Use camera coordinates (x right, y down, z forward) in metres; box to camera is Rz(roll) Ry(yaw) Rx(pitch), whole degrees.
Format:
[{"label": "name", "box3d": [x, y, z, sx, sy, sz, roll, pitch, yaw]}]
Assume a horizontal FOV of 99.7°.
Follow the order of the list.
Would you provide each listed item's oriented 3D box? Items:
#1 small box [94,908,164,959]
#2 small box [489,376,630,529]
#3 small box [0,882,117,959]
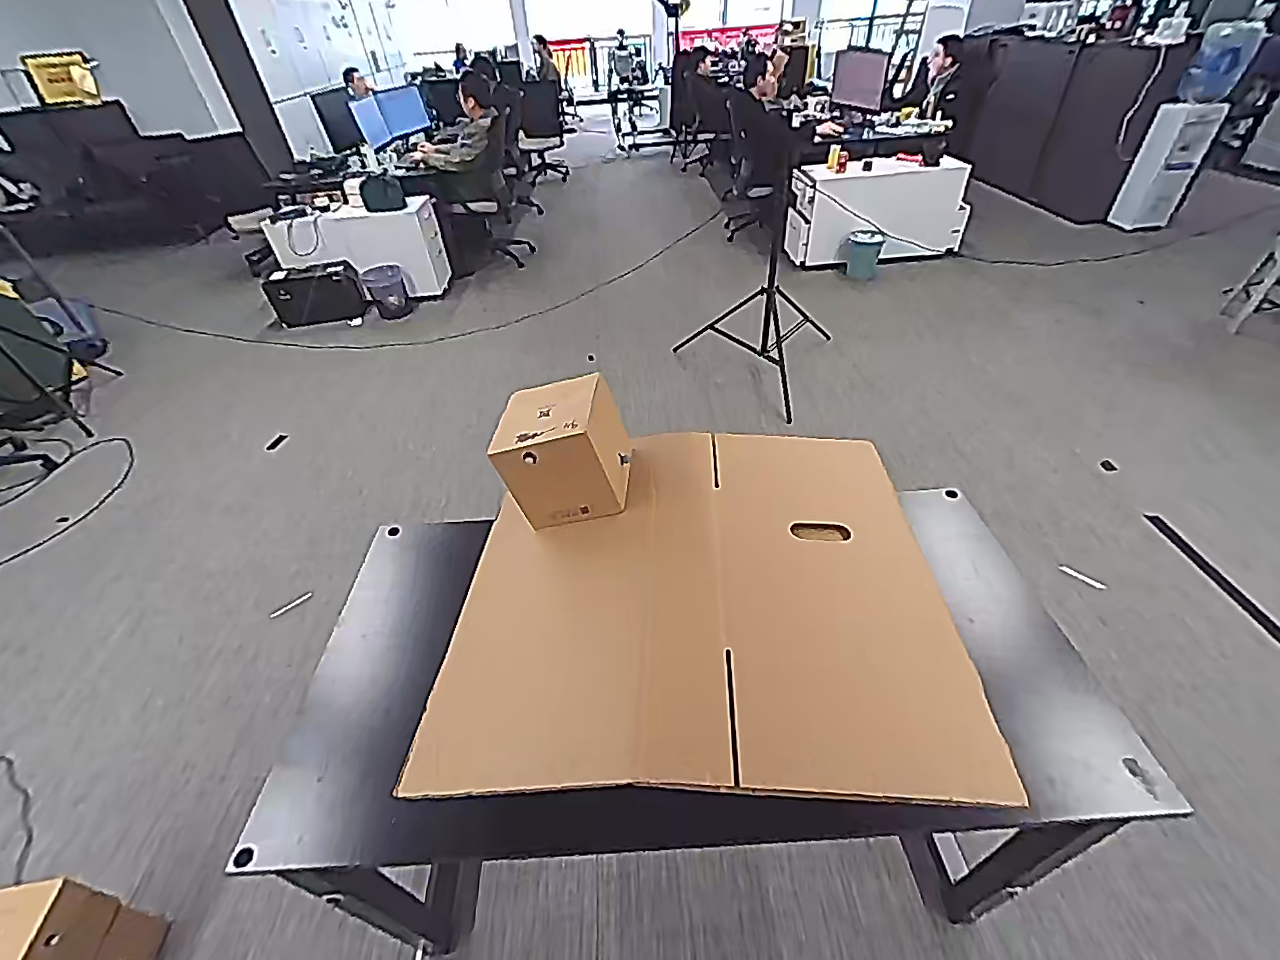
[{"label": "small box", "box3d": [-1.148, 1.023, 1.118, 0.168, 0.176, 0.179, -7, 41, -2]}, {"label": "small box", "box3d": [-0.121, -0.044, 0.906, 0.168, 0.176, 0.179, -12, 38, 15]}, {"label": "small box", "box3d": [-1.160, 0.896, 1.016, 0.168, 0.176, 0.179, -8, 40, -5]}]
